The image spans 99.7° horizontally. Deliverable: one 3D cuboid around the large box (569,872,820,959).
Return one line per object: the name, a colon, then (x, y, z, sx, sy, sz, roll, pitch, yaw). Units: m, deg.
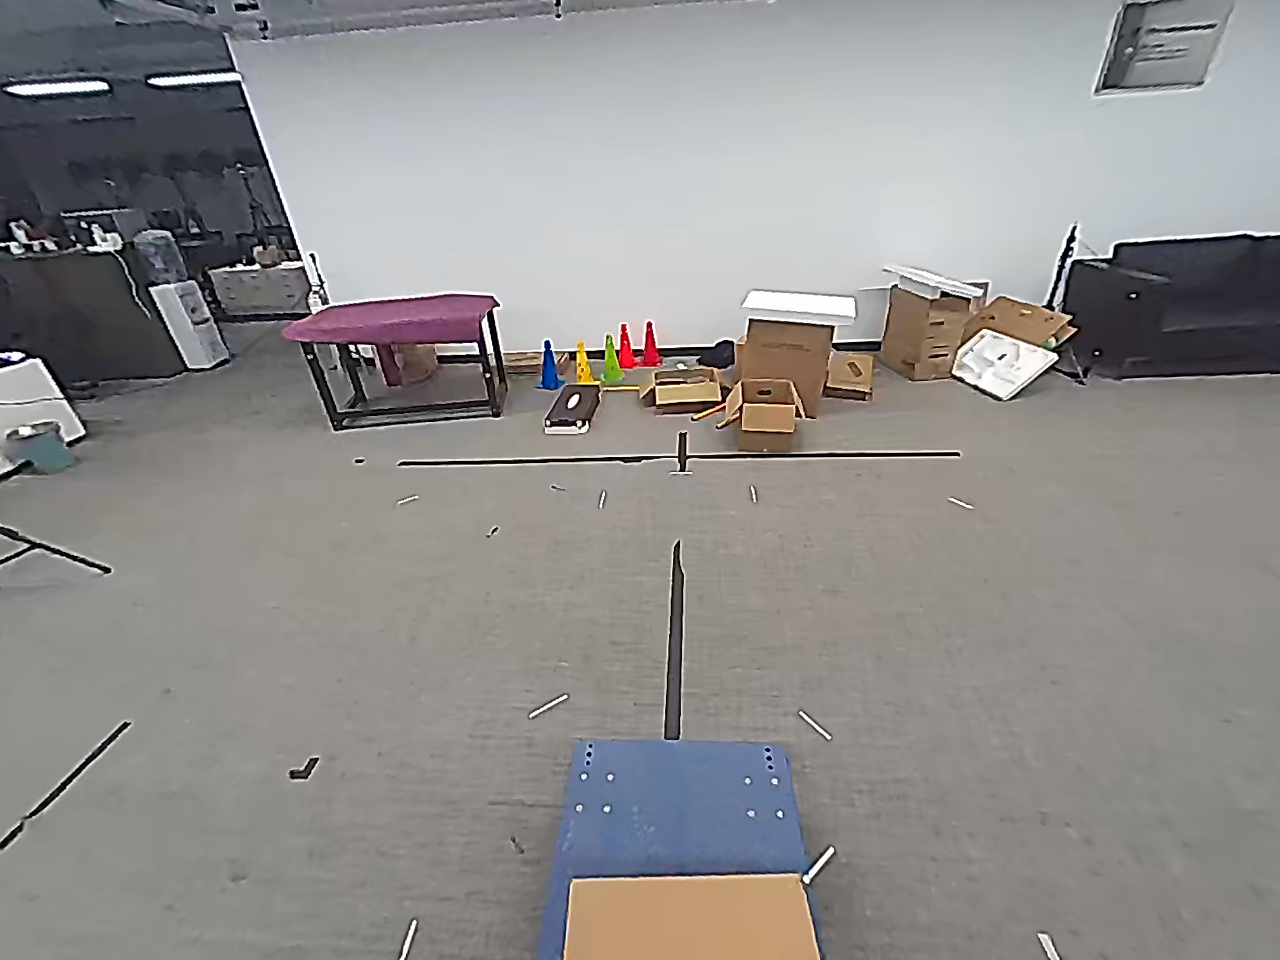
large box: (0.089, 0.904, 0.894, 0.408, 0.320, 0.320, -2, 31, 1)
